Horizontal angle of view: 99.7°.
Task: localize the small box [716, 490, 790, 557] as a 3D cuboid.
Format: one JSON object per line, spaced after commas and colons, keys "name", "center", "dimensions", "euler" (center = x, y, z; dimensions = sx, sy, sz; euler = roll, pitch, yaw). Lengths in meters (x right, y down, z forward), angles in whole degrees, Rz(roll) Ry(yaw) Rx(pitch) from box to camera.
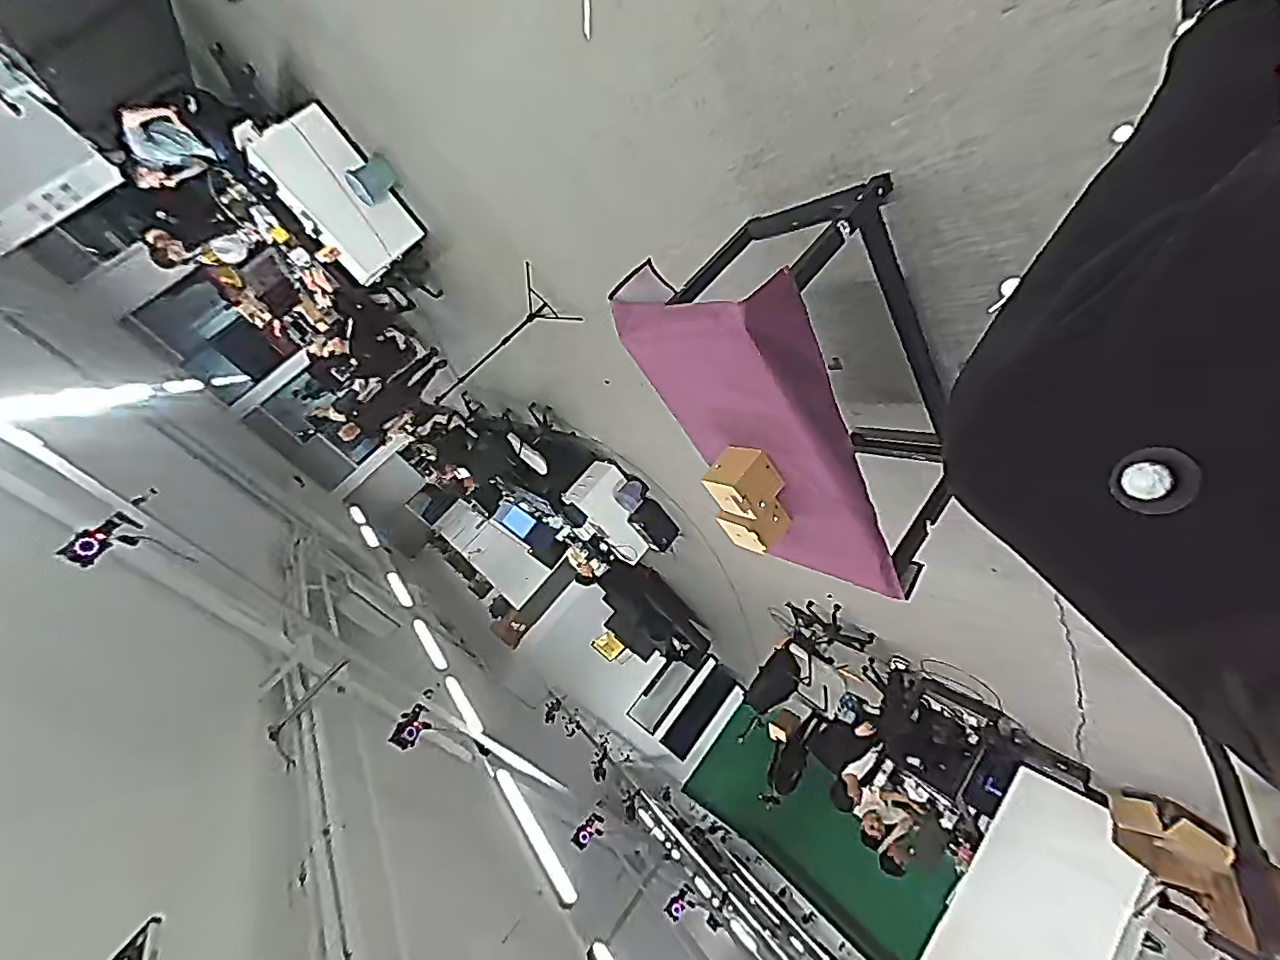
{"name": "small box", "center": [0.424, 0.156, 2.027], "dimensions": [0.168, 0.176, 0.179], "euler": [50, 161, -28]}
